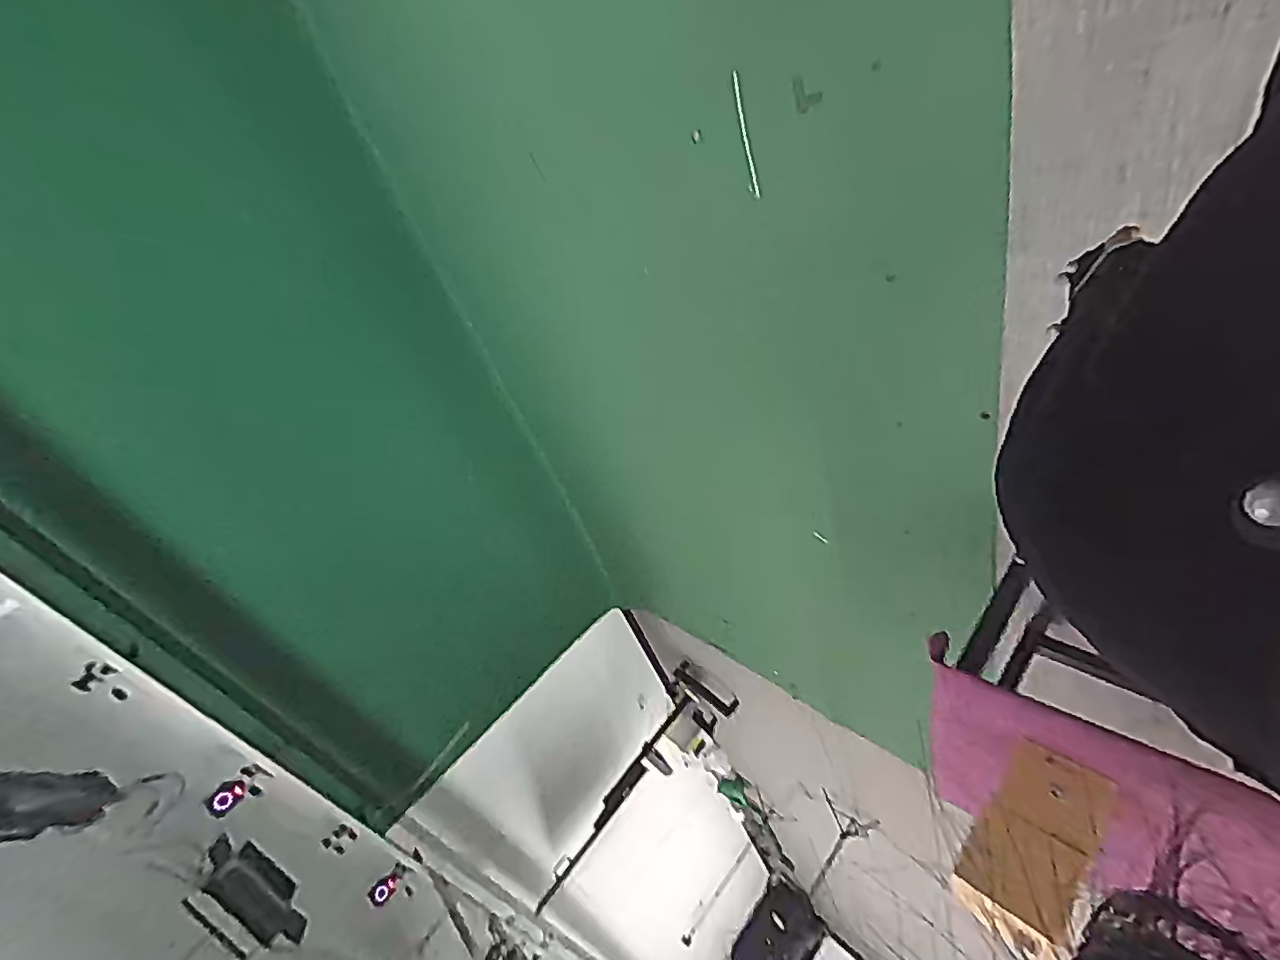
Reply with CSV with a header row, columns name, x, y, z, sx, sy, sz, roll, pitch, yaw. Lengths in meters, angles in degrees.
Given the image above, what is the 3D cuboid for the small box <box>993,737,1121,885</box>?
name,x,y,z,sx,sy,sz,roll,pitch,yaw
small box,0.858,0.674,1.116,0.168,0.176,0.179,20,143,44
